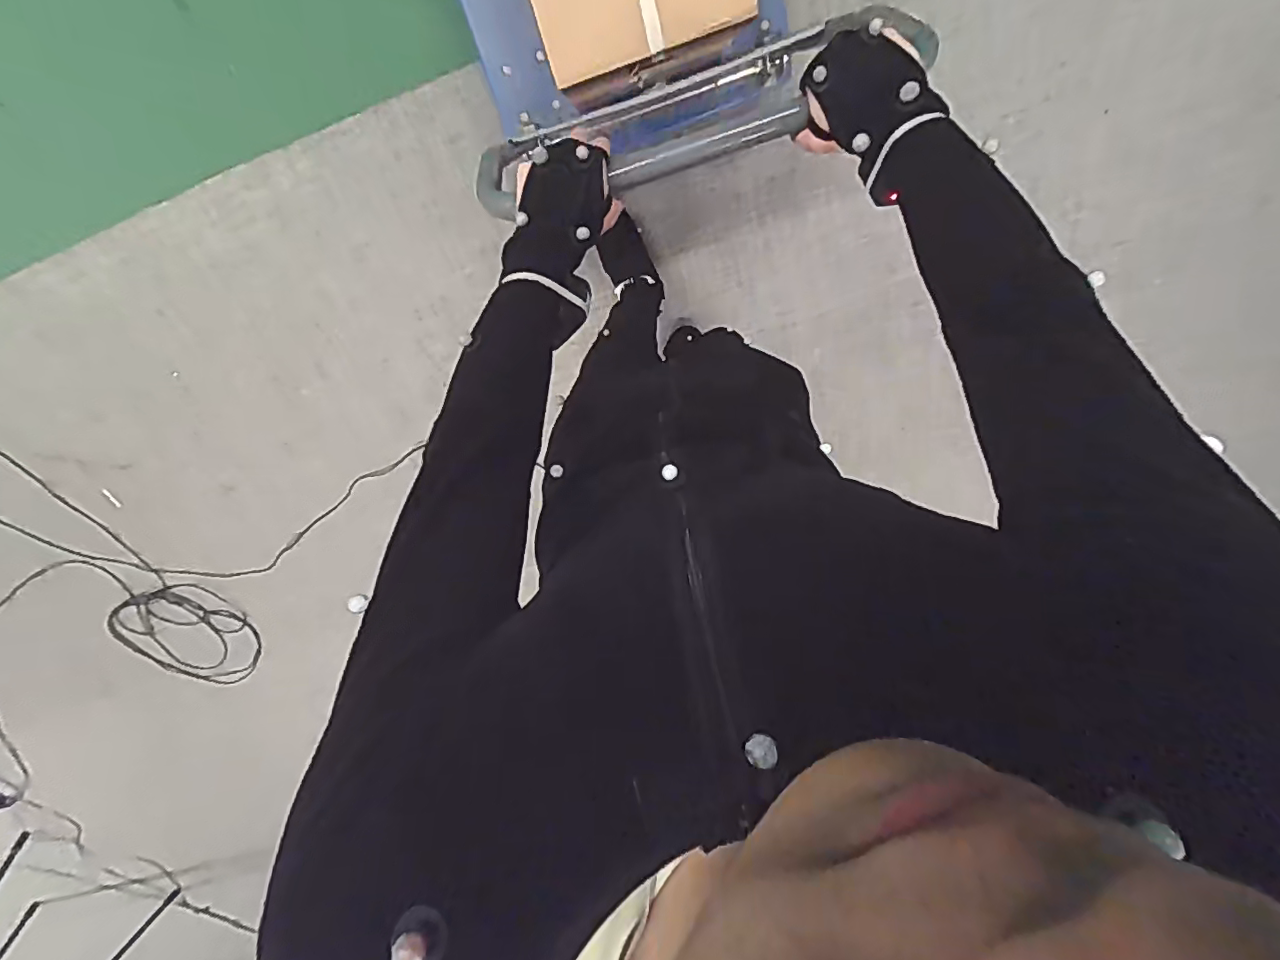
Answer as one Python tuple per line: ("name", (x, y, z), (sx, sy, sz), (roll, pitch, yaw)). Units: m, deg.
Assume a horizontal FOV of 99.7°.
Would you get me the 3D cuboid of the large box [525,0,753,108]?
("large box", (-0.040, -0.866, 0.836), (0.320, 0.320, 0.408), (-15, 121, 7))
